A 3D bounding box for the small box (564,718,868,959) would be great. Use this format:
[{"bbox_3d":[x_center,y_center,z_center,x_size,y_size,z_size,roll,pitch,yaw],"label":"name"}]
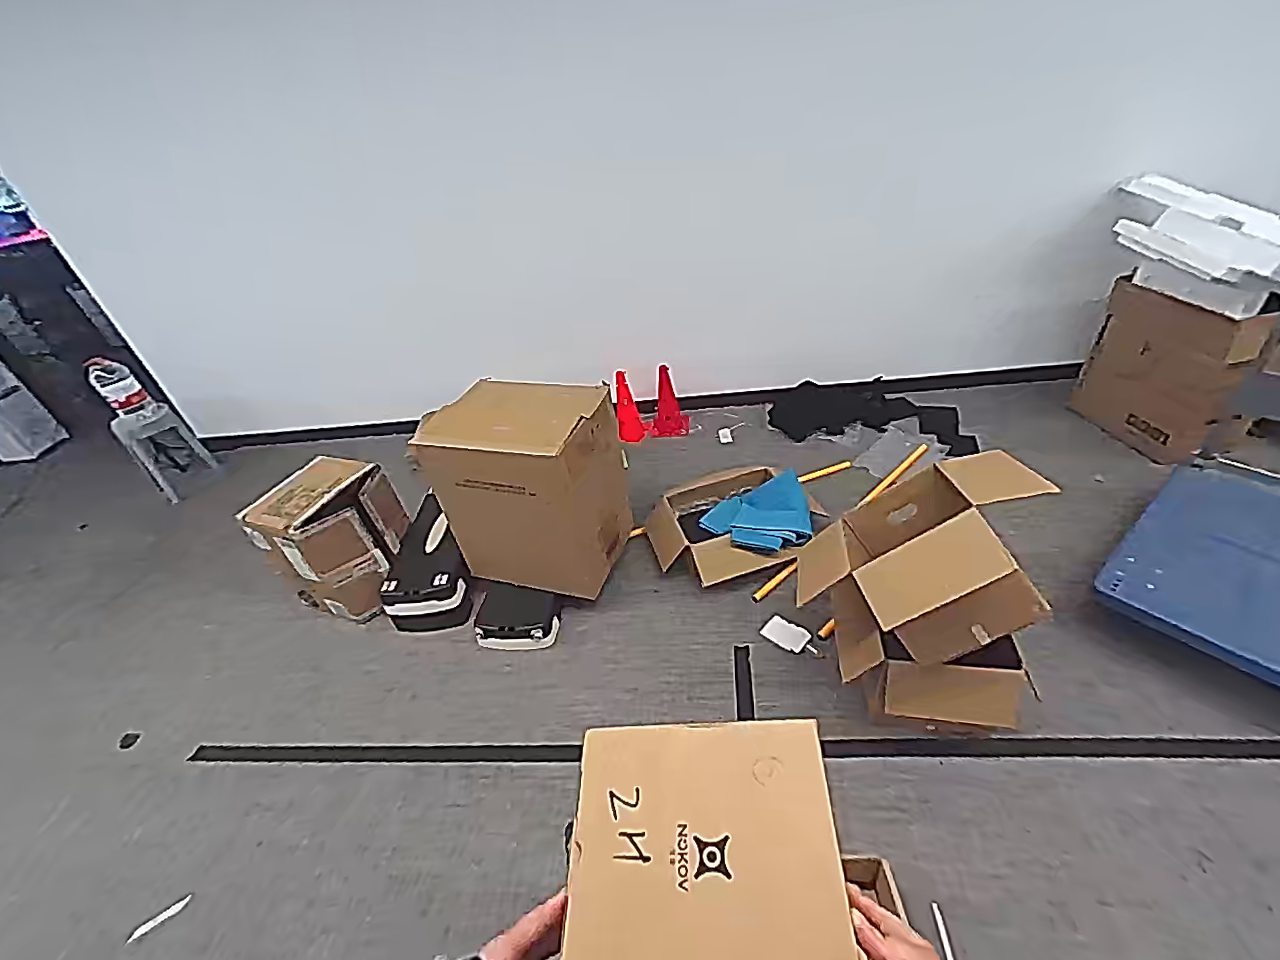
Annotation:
[{"bbox_3d":[0.058,0.293,0.398,0.179,0.176,0.168,-8,43,11],"label":"small box"}]
